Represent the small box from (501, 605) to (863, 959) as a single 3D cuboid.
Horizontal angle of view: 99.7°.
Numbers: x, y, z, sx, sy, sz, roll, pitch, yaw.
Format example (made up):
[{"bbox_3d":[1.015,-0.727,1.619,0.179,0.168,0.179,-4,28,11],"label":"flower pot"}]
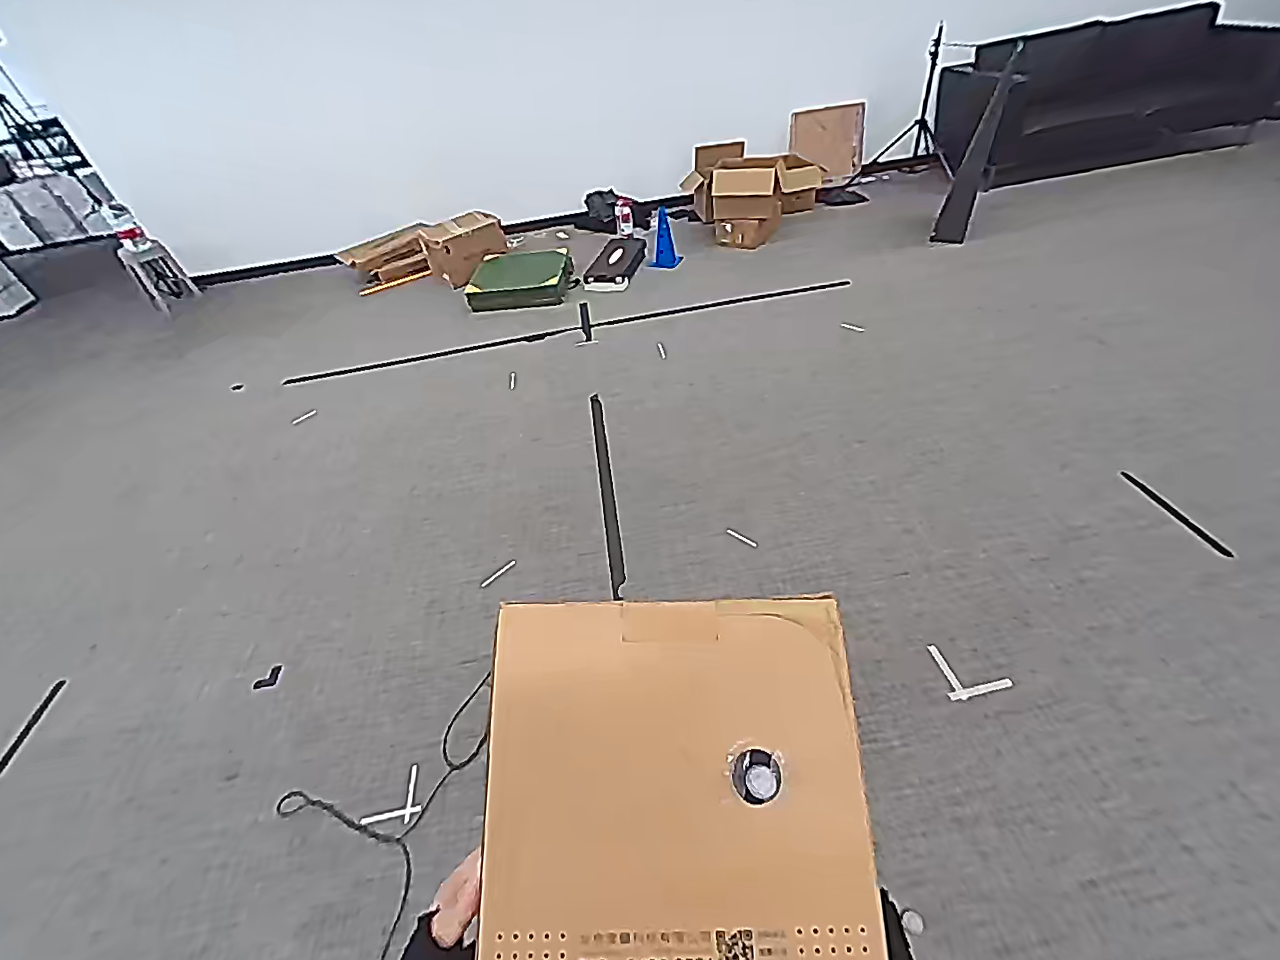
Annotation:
[{"bbox_3d":[0.018,0.171,0.328,0.168,0.179,0.176,-1,72,1],"label":"small box"}]
